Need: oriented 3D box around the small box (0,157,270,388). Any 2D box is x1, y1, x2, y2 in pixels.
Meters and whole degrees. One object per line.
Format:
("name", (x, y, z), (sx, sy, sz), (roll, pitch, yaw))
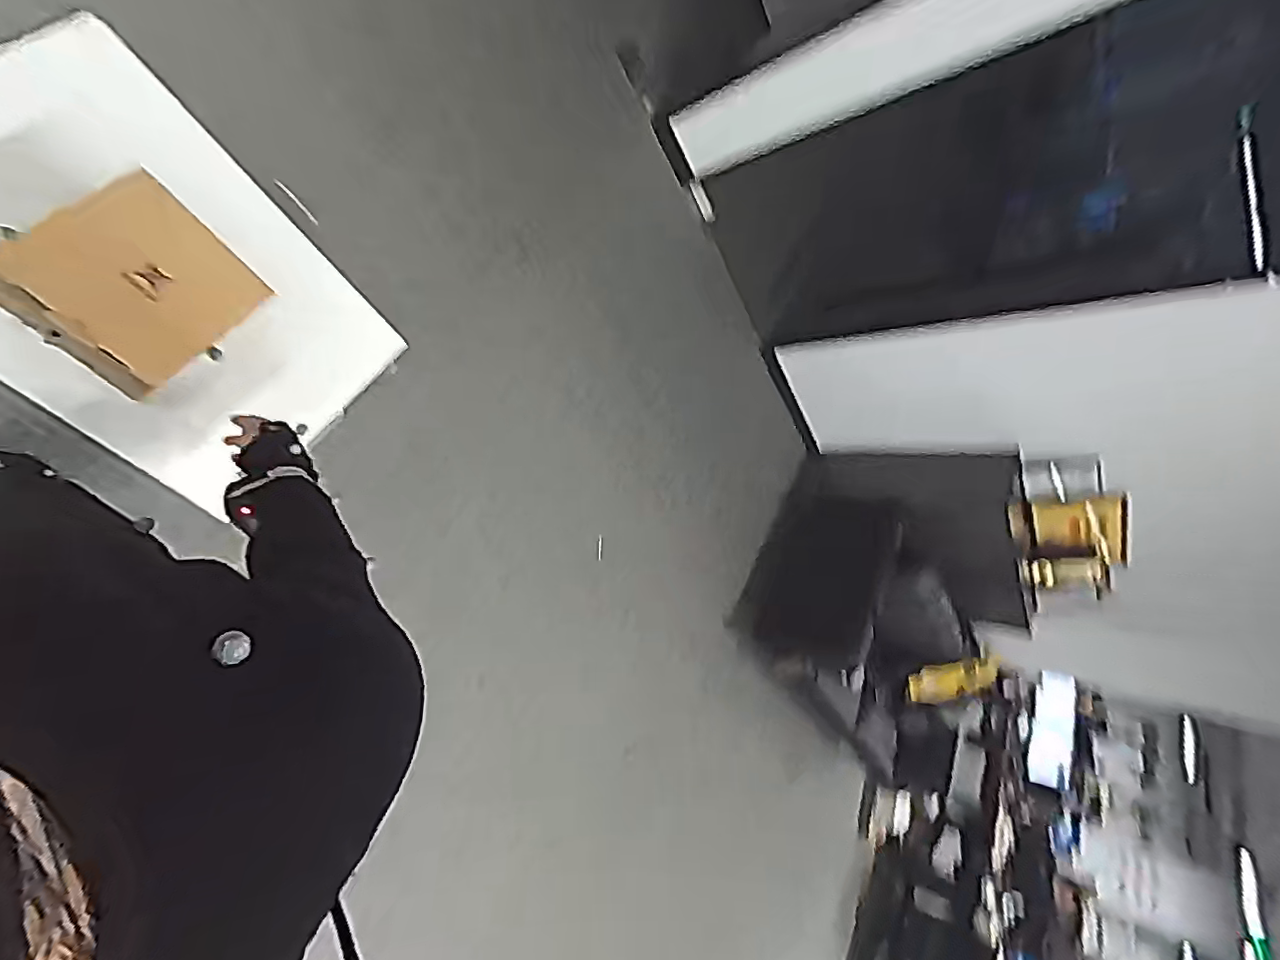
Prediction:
("small box", (-0.583, -0.224, 0.617), (0.168, 0.176, 0.179), (54, 54, -36))
